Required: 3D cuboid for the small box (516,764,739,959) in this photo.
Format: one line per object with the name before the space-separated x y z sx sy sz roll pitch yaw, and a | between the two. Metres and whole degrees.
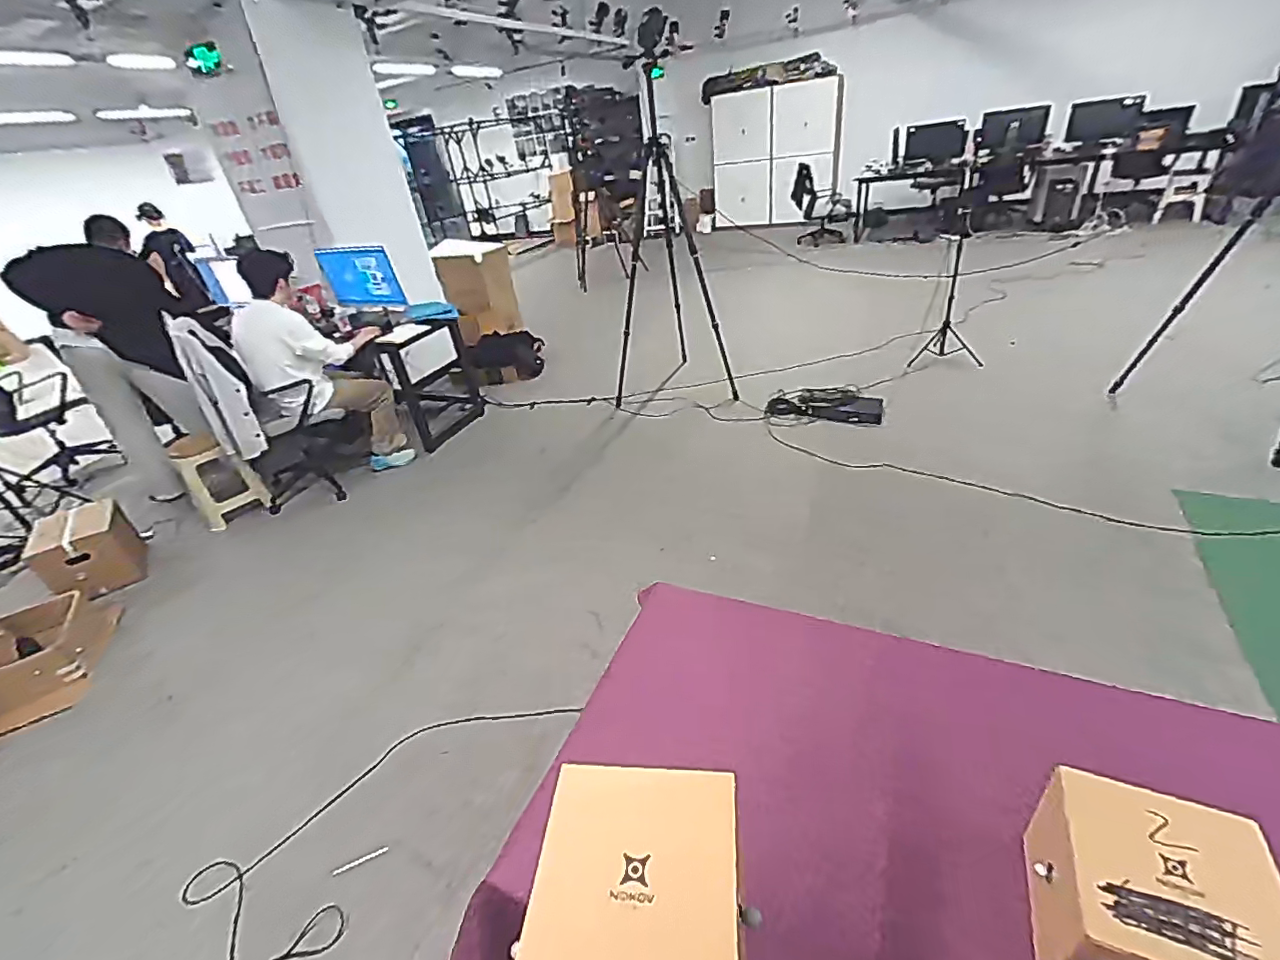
small box | 0.003 0.392 0.494 0.168 0.176 0.179 -3 36 10
